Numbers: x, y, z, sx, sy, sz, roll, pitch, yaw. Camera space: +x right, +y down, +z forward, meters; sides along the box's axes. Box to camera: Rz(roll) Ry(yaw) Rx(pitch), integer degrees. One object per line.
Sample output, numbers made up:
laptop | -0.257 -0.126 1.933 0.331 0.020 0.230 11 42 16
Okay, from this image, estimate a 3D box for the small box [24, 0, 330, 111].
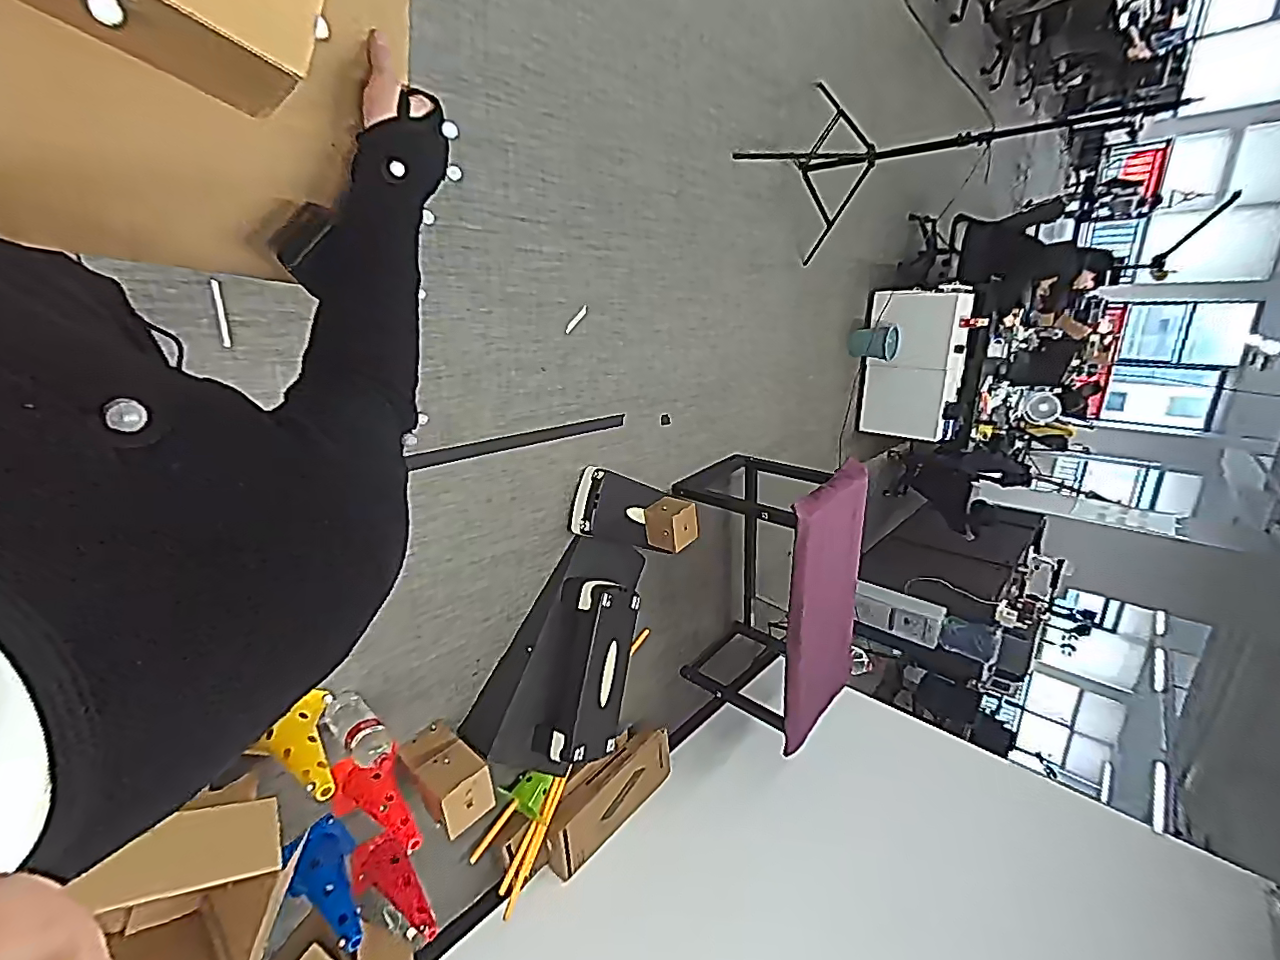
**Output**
small box | -0.311 -0.377 0.353 0.179 0.176 0.168 11 101 -44
